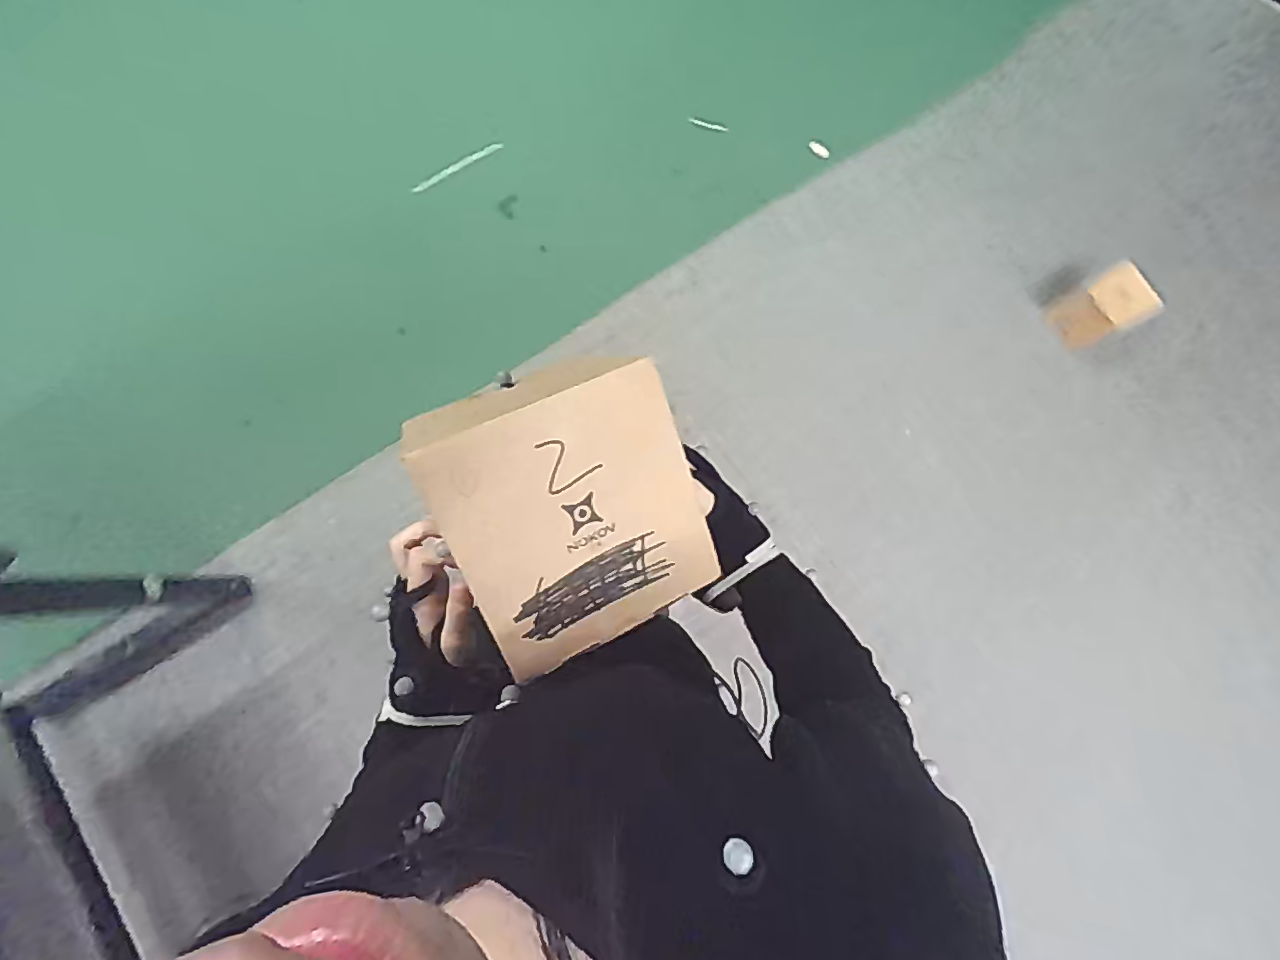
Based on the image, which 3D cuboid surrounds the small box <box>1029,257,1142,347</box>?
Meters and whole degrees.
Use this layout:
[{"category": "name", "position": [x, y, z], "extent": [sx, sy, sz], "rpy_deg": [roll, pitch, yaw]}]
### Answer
[{"category": "small box", "position": [1.371, -0.546, 1.676], "extent": [0.179, 0.176, 0.168], "rpy_deg": [-30, 83, -8]}]
